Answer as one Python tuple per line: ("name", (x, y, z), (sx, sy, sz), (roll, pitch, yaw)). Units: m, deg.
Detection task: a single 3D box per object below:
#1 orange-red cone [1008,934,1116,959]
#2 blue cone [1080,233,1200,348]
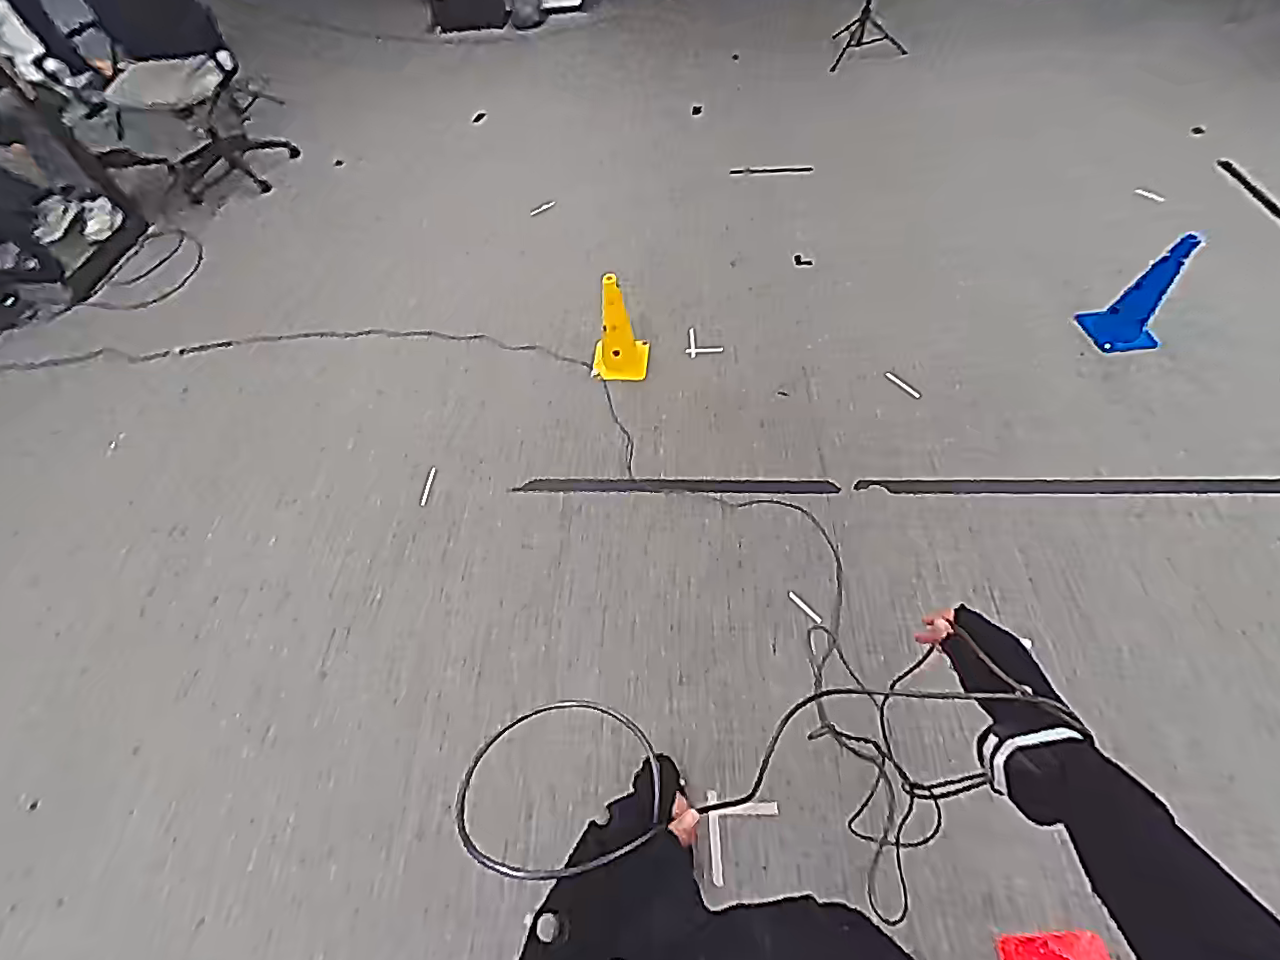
("orange-red cone", (0.790, 0.866, 0.843), (0.199, 0.360, 0.198), (-4, 57, 1))
("blue cone", (1.658, -0.629, 1.762), (0.193, 0.380, 0.192), (-5, 56, 2))
